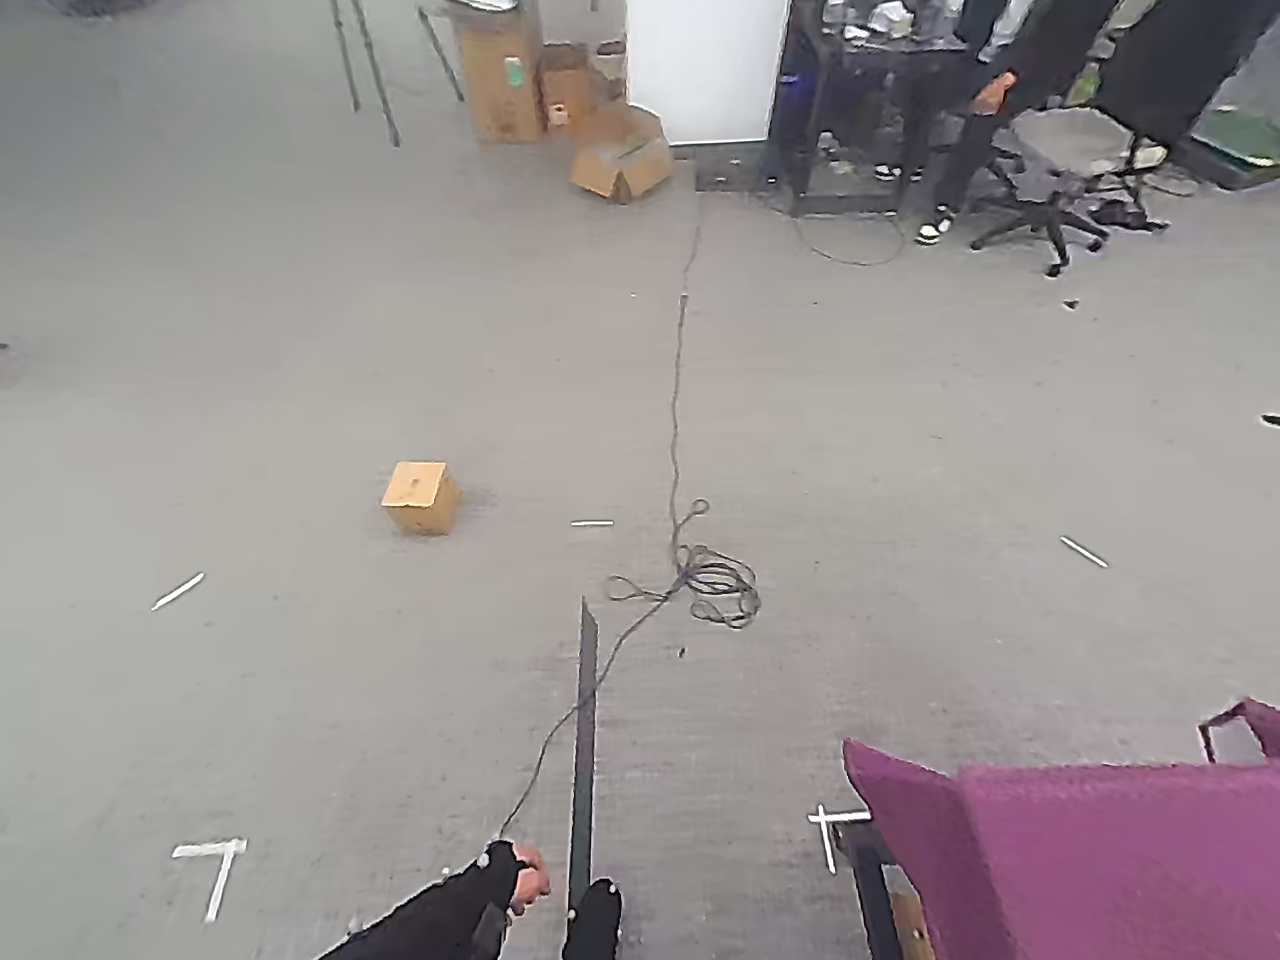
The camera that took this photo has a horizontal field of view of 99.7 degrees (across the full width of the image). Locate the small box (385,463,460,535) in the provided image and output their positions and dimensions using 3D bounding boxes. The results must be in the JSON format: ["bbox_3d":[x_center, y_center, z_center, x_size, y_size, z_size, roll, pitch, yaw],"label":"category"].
[{"bbox_3d":[-0.715,0.064,1.806,0.168,0.176,0.179,2,55,3],"label":"small box"}]
